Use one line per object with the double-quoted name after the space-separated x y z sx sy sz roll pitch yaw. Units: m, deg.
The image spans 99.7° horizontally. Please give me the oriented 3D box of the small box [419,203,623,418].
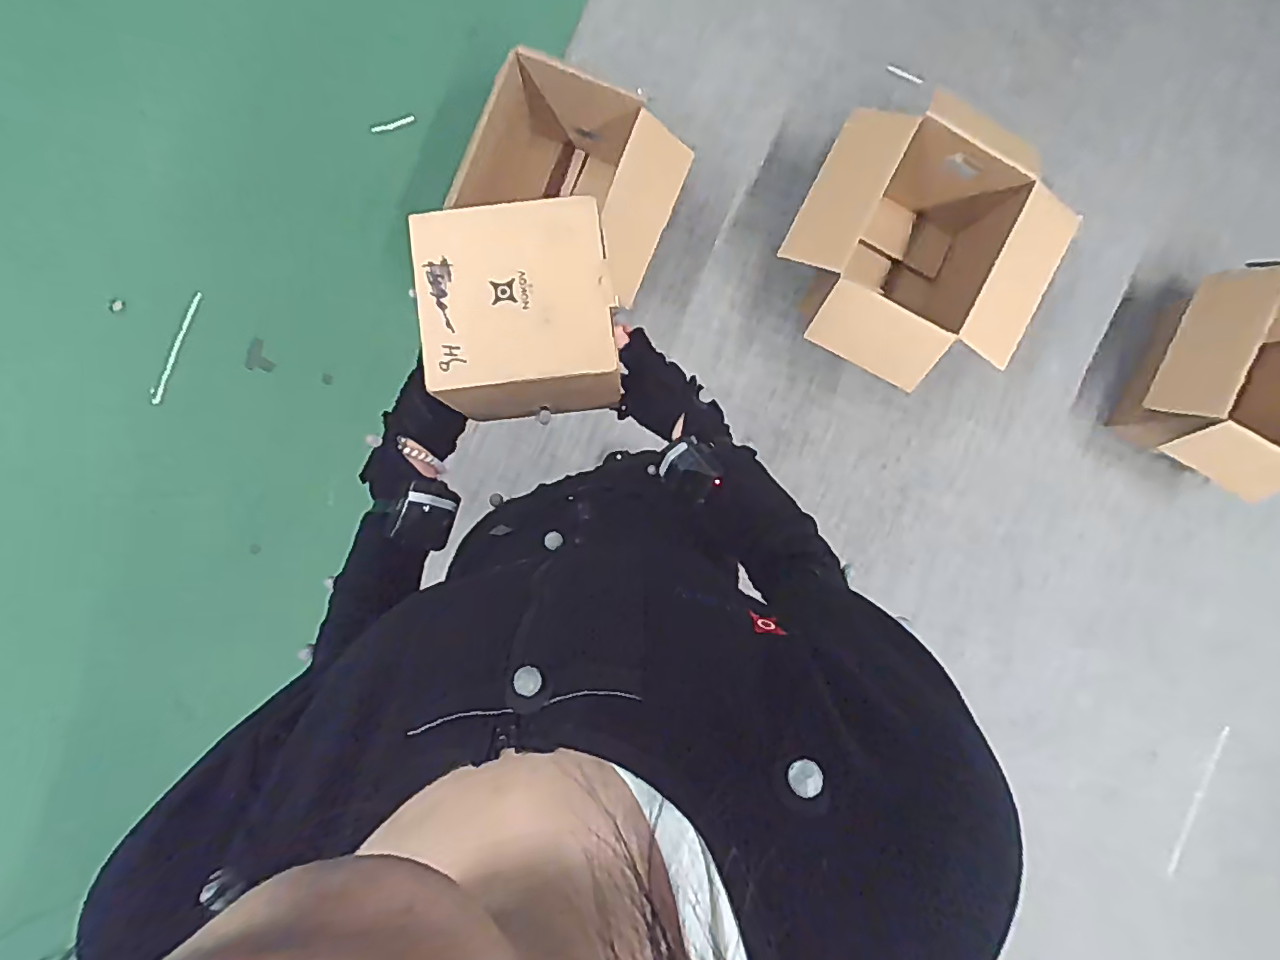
-0.114 -0.166 0.575 0.179 0.176 0.168 -6 86 -3 "small box"
